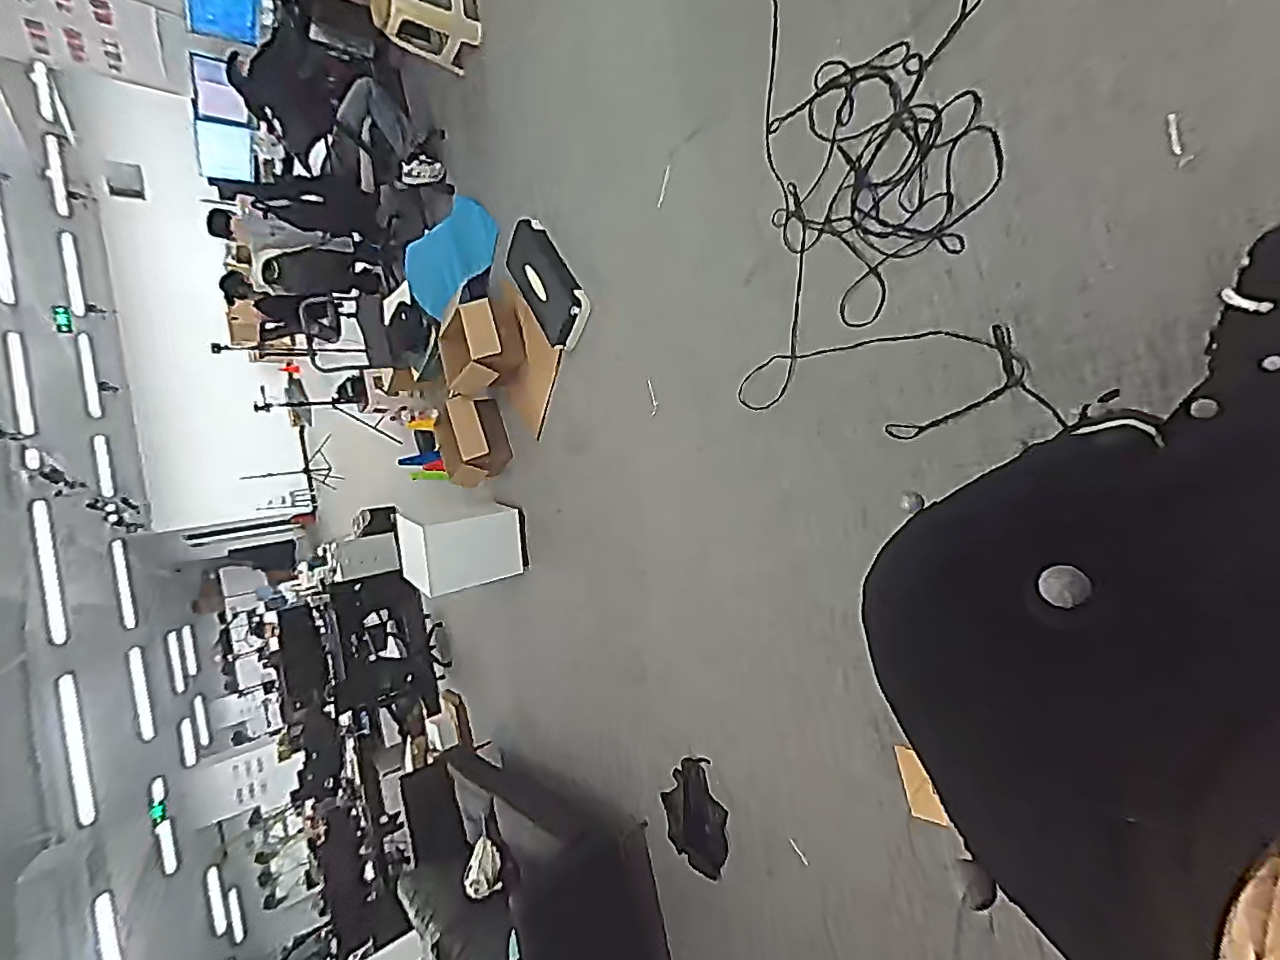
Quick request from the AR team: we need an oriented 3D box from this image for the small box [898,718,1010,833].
[{"bbox_3d":[0.781,0.721,1.340,0.168,0.176,0.179,-19,82,53],"label":"small box"}]
